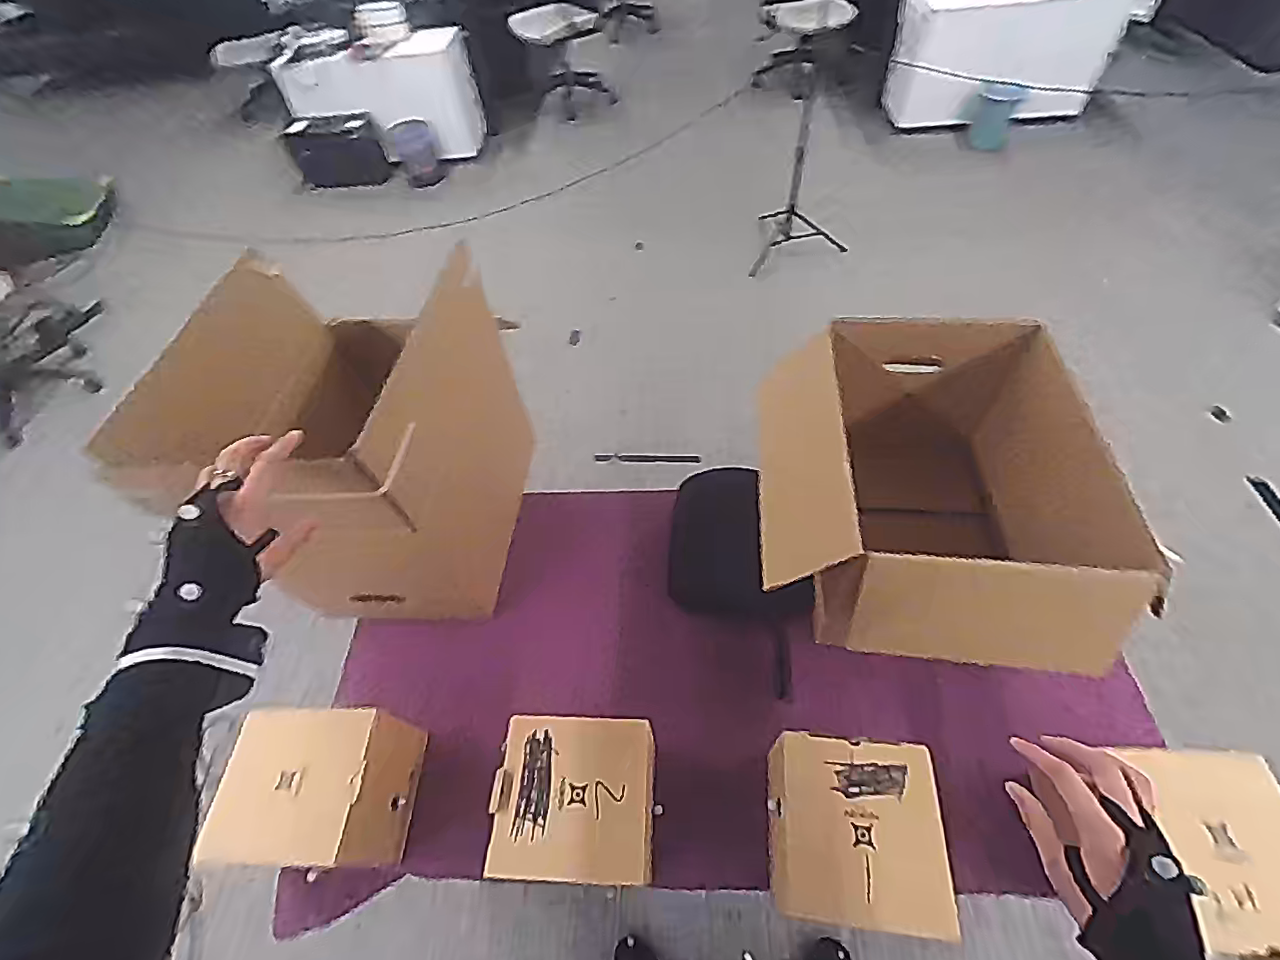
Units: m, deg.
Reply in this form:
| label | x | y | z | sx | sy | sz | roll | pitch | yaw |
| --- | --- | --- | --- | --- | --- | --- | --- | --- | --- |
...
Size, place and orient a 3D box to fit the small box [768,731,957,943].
| label | x | y | z | sx | sy | sz | roll | pitch | yaw |
| --- | --- | --- | --- | --- | --- | --- | --- | --- | --- |
| small box | 0.245 | 0.419 | 0.647 | 0.168 | 0.176 | 0.179 | 3 | 56 | 8 |

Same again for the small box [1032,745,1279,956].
| label | x | y | z | sx | sy | sz | roll | pitch | yaw |
| --- | --- | --- | --- | --- | --- | --- | --- | --- | --- |
| small box | 0.593 | 0.415 | 0.613 | 0.168 | 0.176 | 0.179 | -1 | 55 | 6 |

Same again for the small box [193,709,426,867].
| label | x | y | z | sx | sy | sz | roll | pitch | yaw |
| --- | --- | --- | --- | --- | --- | --- | --- | --- | --- |
| small box | -0.415 | 0.411 | 0.718 | 0.179 | 0.176 | 0.168 | -1 | 54 | 3 |
